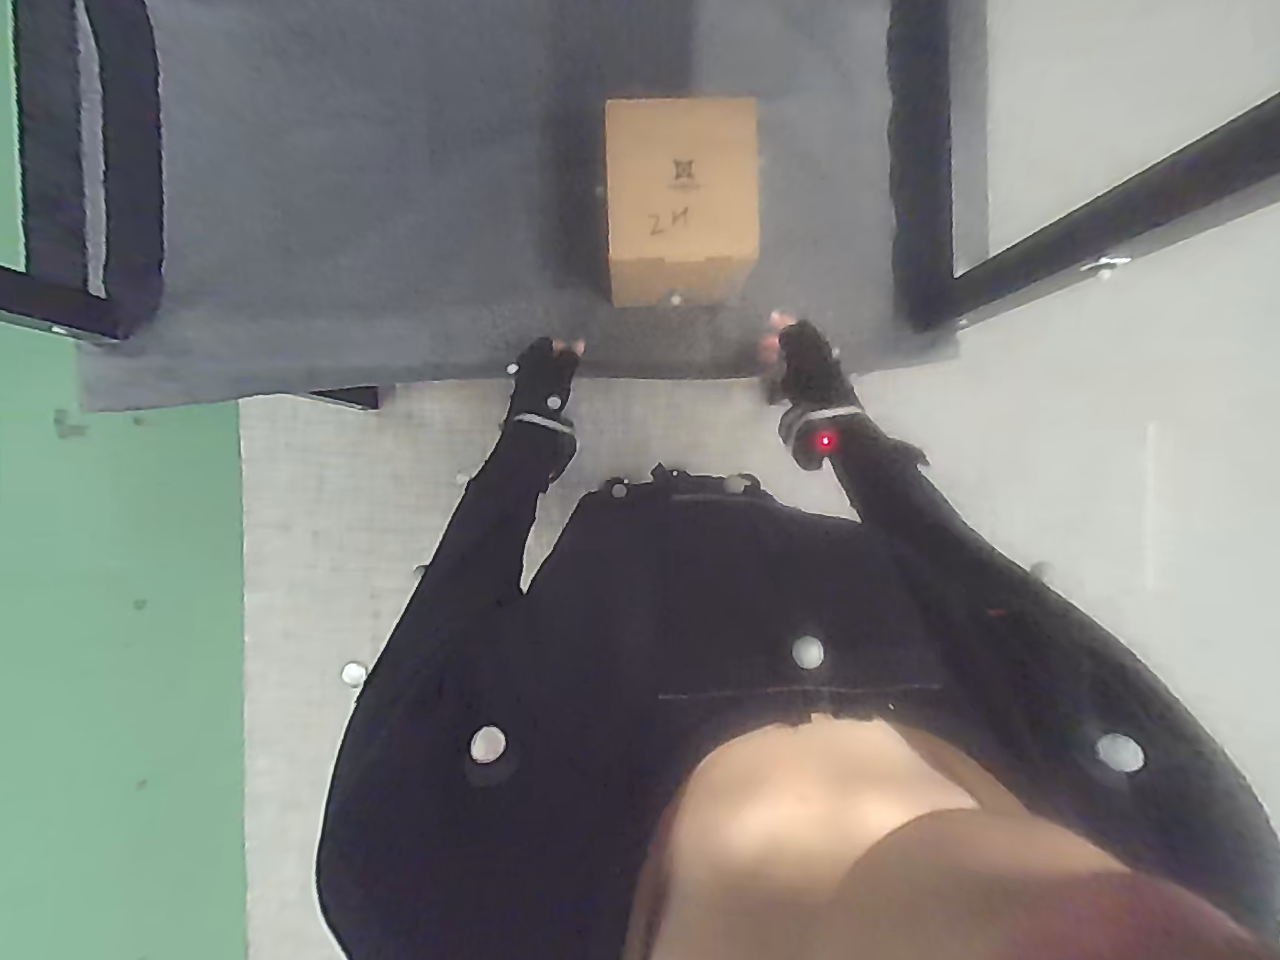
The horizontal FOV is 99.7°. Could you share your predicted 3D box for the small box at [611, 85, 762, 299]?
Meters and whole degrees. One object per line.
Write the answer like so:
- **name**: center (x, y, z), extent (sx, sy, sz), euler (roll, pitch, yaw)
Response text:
- **small box**: center (0.048, -0.337, 0.660), extent (0.168, 0.176, 0.179), euler (-1, 90, -1)
